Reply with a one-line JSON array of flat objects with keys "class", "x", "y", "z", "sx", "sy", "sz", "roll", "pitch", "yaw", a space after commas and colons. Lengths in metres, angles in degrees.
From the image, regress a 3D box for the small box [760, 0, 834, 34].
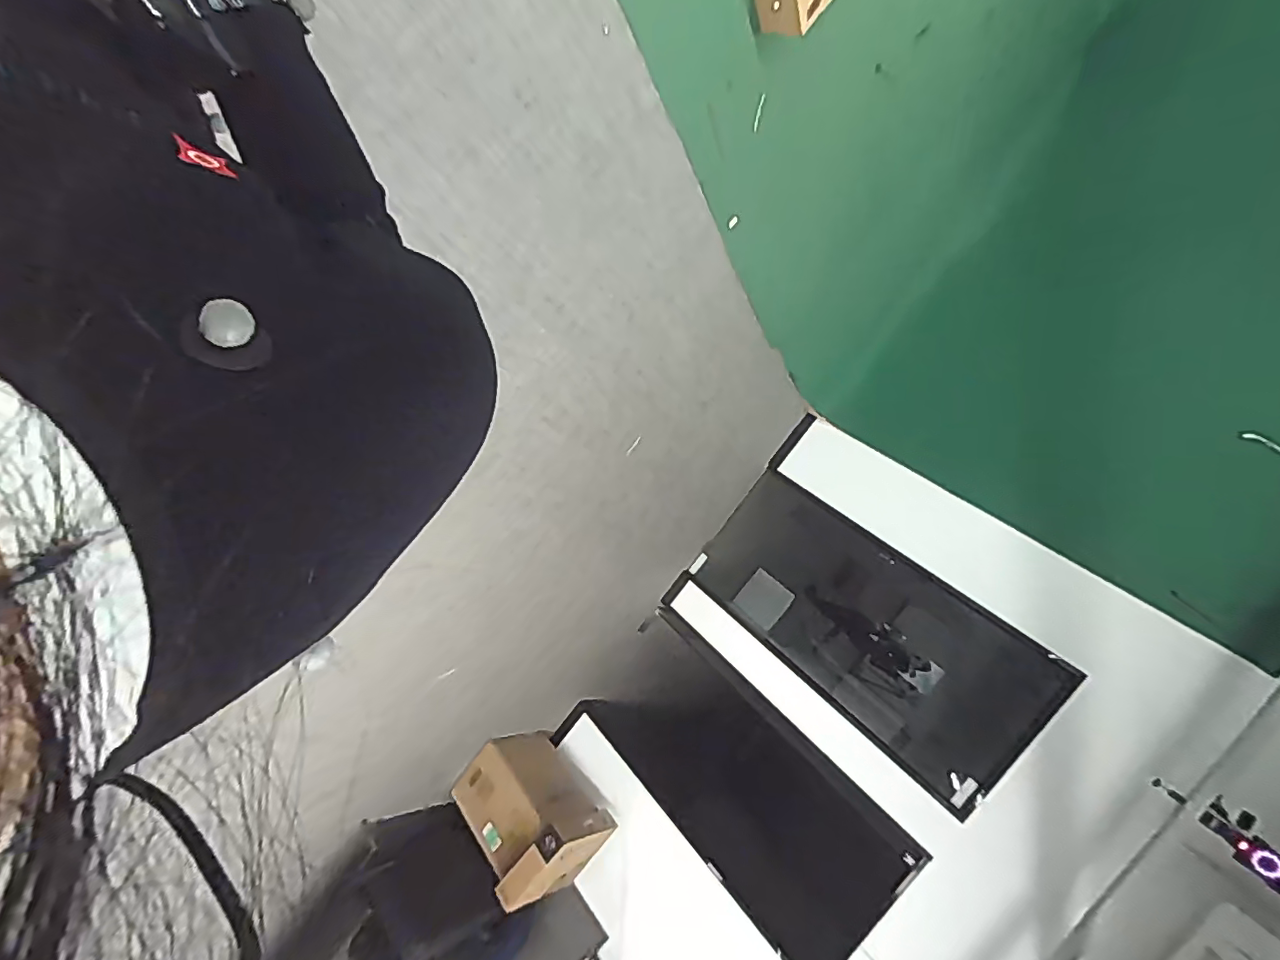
[{"class": "small box", "x": 0.479, "y": -1.524, "z": 1.653, "sx": 0.168, "sy": 0.176, "sz": 0.179, "roll": -51, "pitch": 148, "yaw": 1}]
